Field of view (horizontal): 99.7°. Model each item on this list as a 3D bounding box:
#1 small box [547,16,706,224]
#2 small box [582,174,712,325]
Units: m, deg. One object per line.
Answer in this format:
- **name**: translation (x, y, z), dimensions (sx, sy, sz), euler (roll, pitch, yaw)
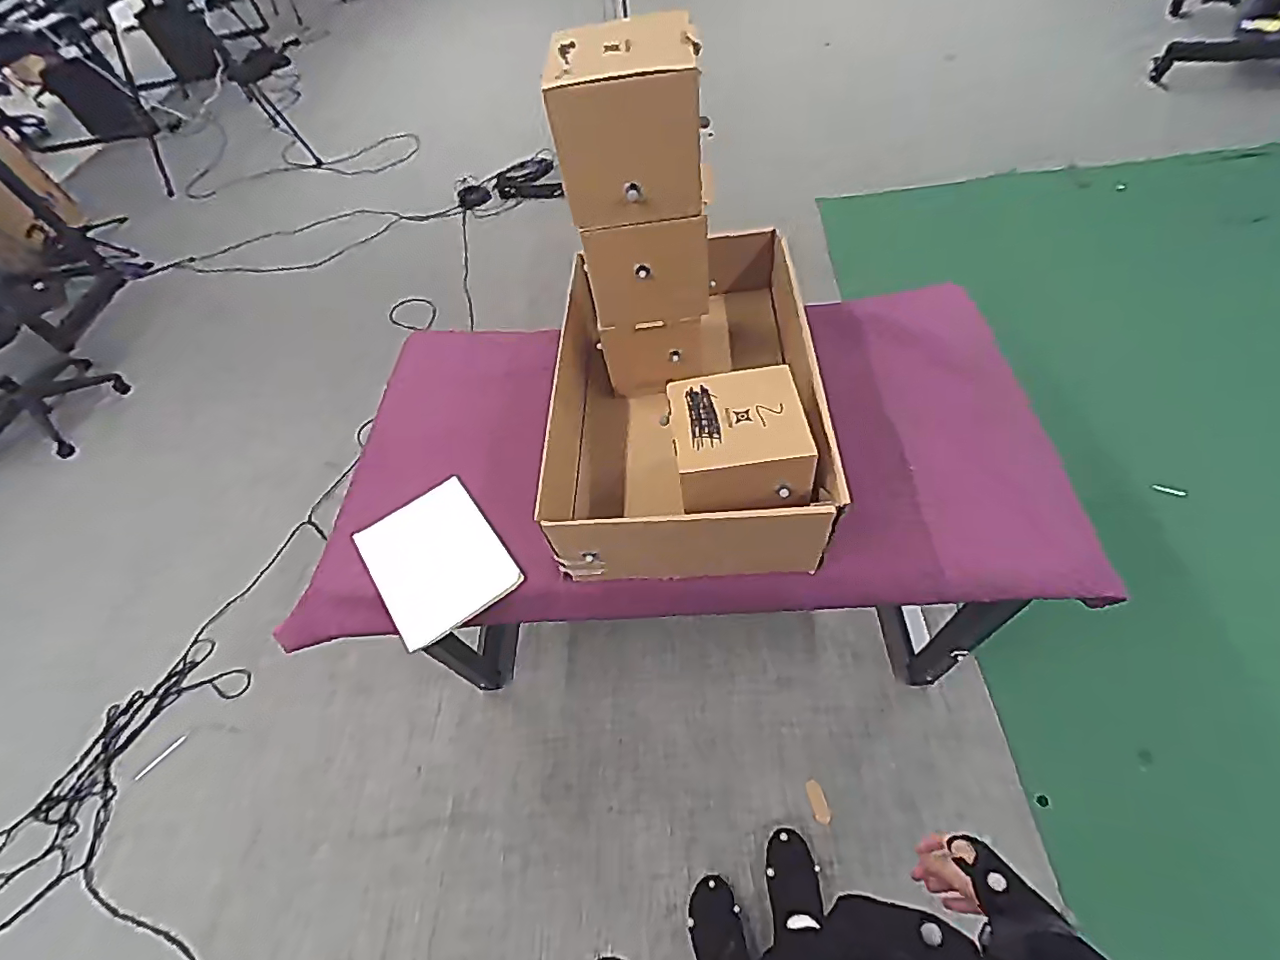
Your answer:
- **small box**: translation (-0.008, -0.455, 0.696), dimensions (0.179, 0.176, 0.168), euler (-3, 56, 5)
- **small box**: translation (0.015, -0.361, 0.829), dimensions (0.179, 0.176, 0.168), euler (-6, 56, 5)
